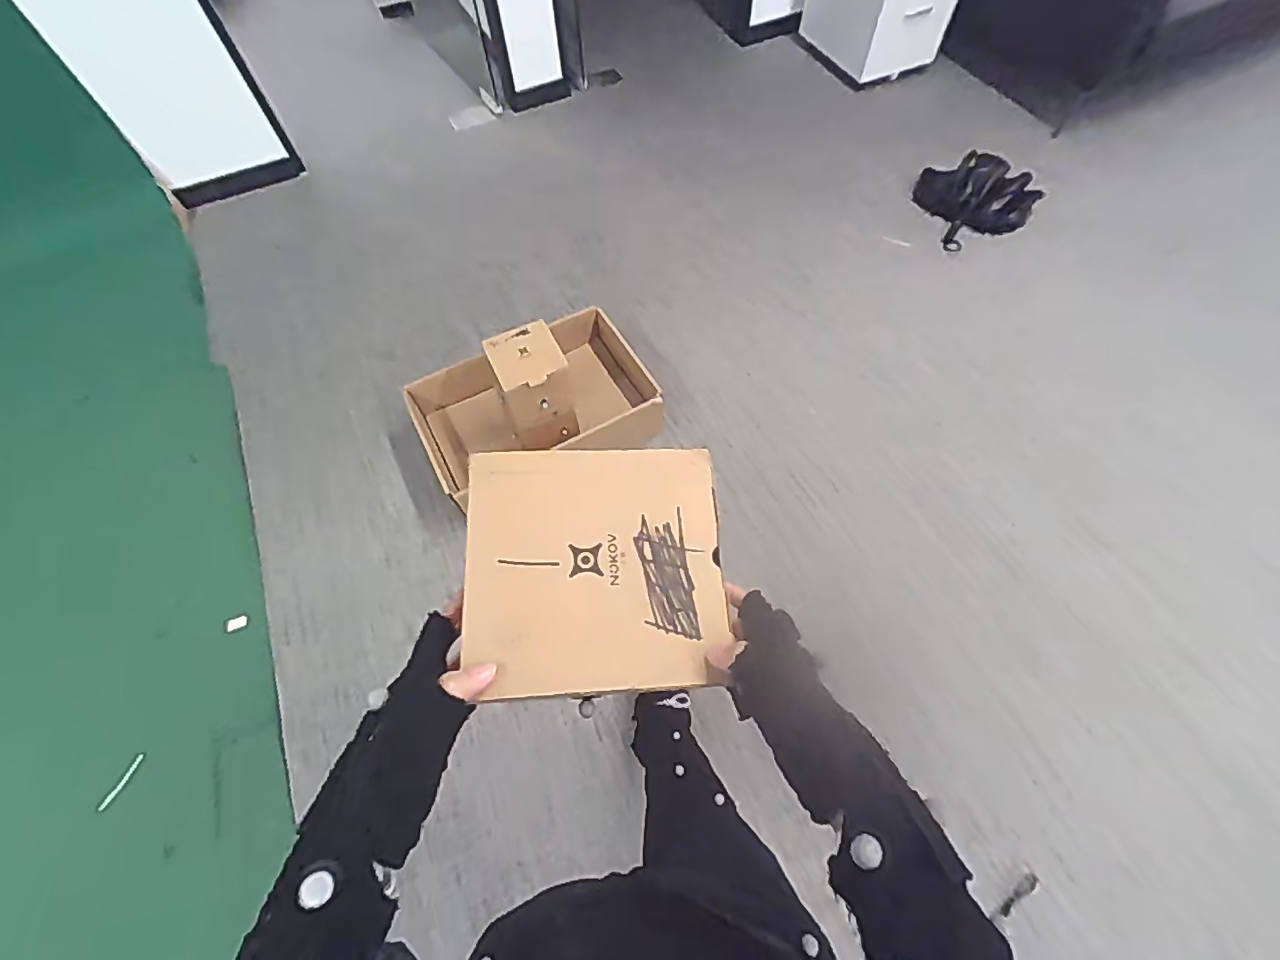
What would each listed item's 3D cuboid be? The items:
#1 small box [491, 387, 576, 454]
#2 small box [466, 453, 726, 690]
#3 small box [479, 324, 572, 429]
[{"bbox_3d":[-0.290,-0.174,1.502,0.168,0.176,0.179,-25,62,-14],"label":"small box"},{"bbox_3d":[-0.041,0.086,0.461,0.179,0.176,0.168,0,67,-8],"label":"small box"},{"bbox_3d":[-0.281,-0.250,1.357,0.168,0.176,0.179,-23,64,-12],"label":"small box"}]
